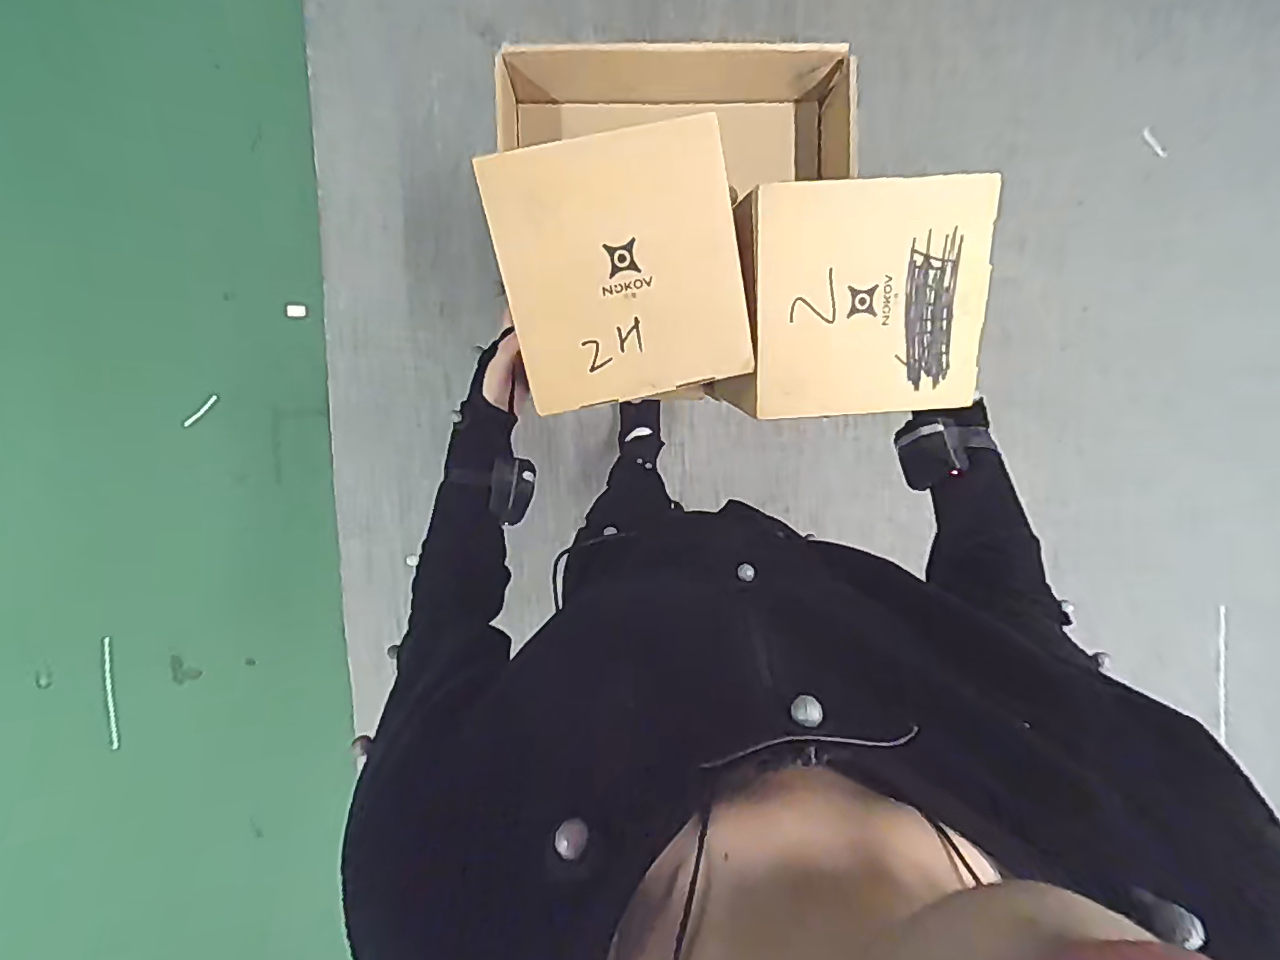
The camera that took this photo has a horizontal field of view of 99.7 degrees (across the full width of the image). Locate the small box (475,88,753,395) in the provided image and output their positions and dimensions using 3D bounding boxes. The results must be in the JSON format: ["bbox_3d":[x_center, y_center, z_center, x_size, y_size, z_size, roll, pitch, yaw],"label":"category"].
[{"bbox_3d":[-0.020,-0.176,0.446,0.168,0.176,0.179,-12,105,-2],"label":"small box"}]
